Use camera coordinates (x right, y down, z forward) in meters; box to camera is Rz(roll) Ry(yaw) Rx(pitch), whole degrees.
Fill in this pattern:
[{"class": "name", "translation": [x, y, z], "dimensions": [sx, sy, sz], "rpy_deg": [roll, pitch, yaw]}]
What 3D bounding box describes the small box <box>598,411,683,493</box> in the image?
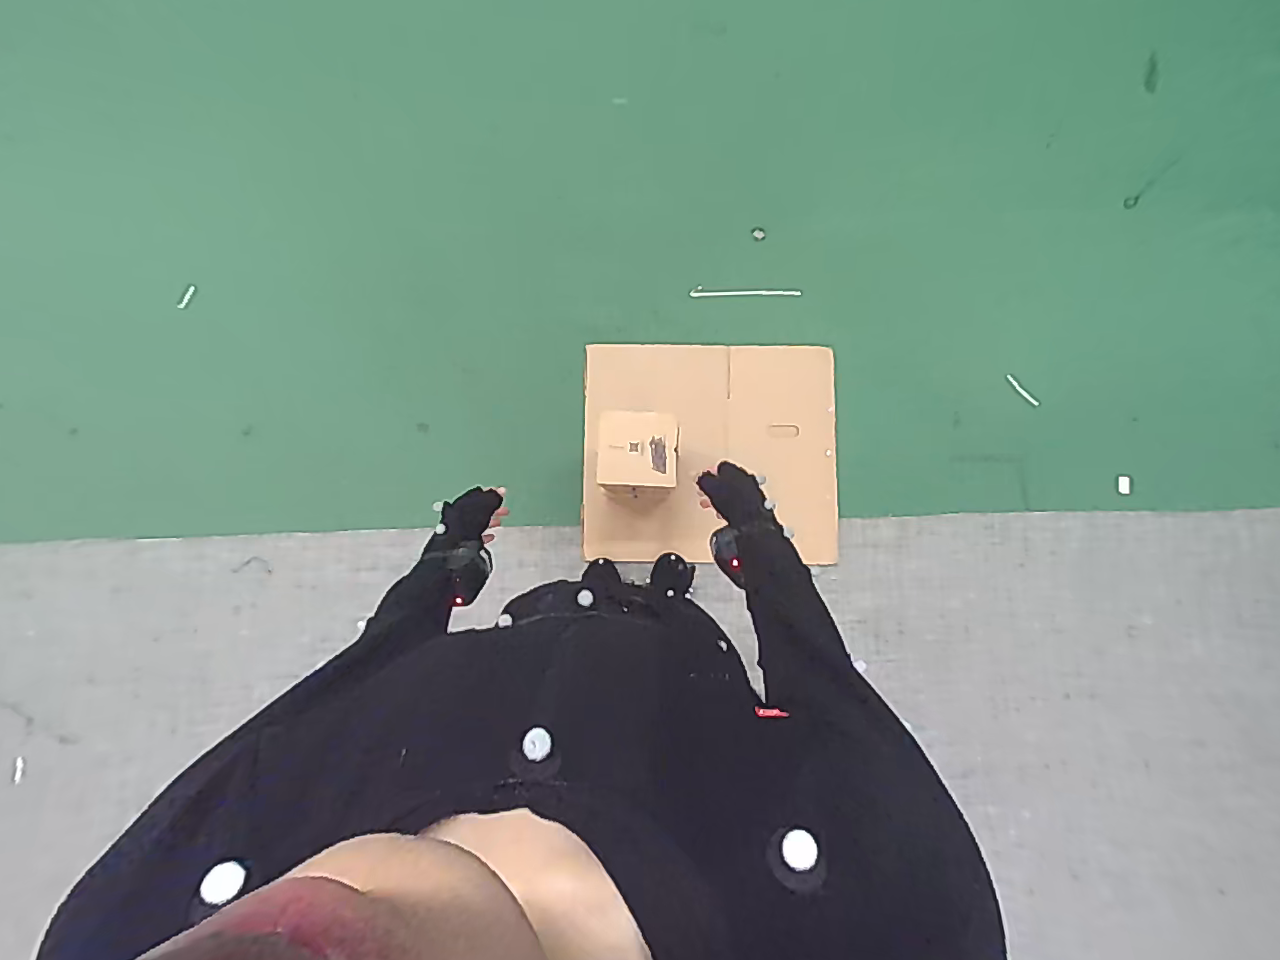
[{"class": "small box", "translation": [0.004, -0.059, 1.244], "dimensions": [0.179, 0.176, 0.168], "rpy_deg": [3, 85, 3]}]
